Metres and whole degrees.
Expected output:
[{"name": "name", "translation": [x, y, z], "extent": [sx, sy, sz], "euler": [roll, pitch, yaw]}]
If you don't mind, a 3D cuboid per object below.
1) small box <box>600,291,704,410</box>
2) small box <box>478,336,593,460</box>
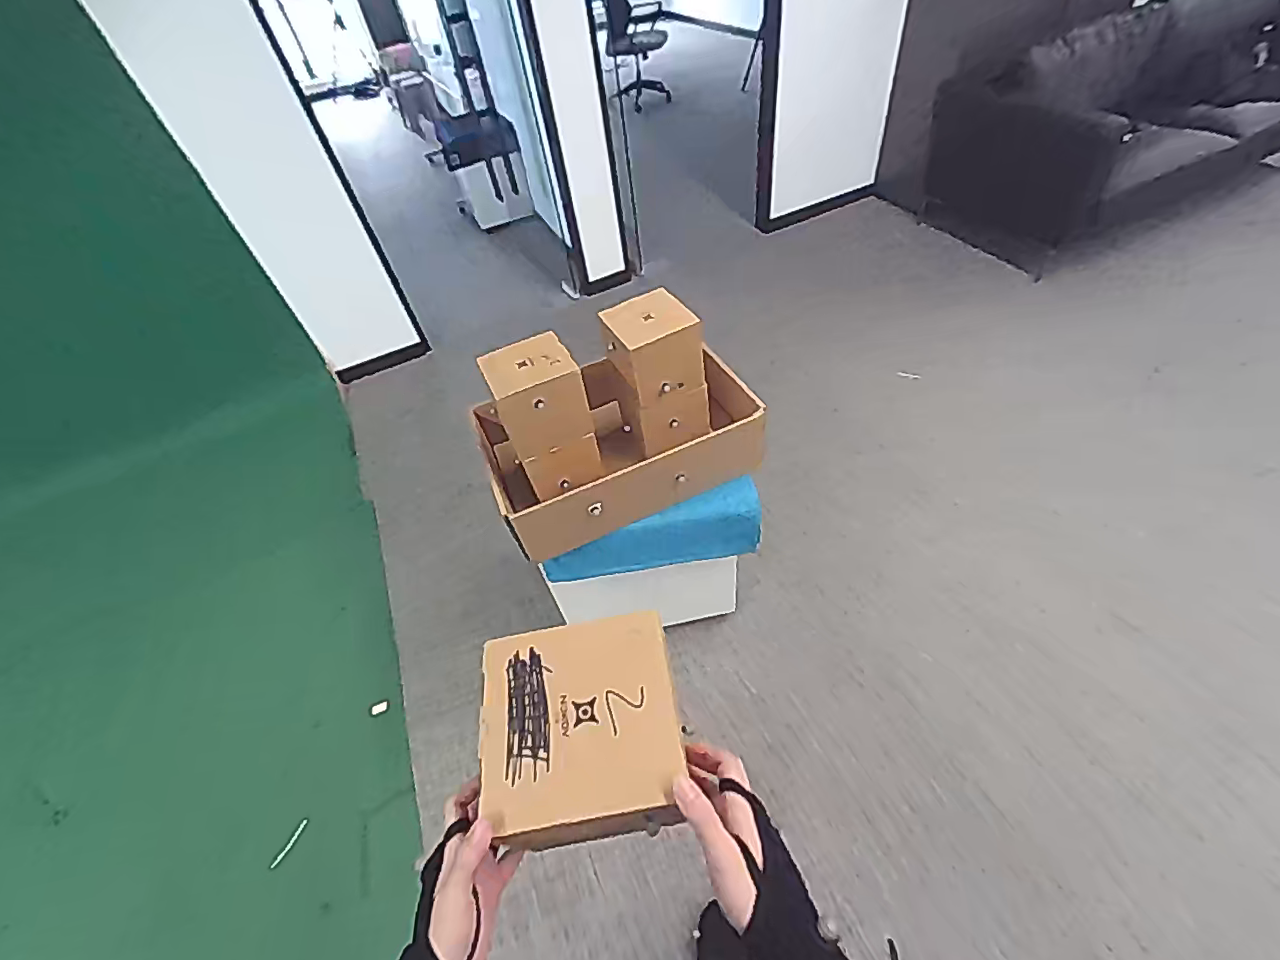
[{"name": "small box", "translation": [0.028, -0.286, 1.205], "extent": [0.168, 0.176, 0.179], "euler": [-25, 48, -10]}, {"name": "small box", "translation": [-0.217, -0.171, 1.145], "extent": [0.179, 0.176, 0.168], "euler": [-23, 49, -12]}]
